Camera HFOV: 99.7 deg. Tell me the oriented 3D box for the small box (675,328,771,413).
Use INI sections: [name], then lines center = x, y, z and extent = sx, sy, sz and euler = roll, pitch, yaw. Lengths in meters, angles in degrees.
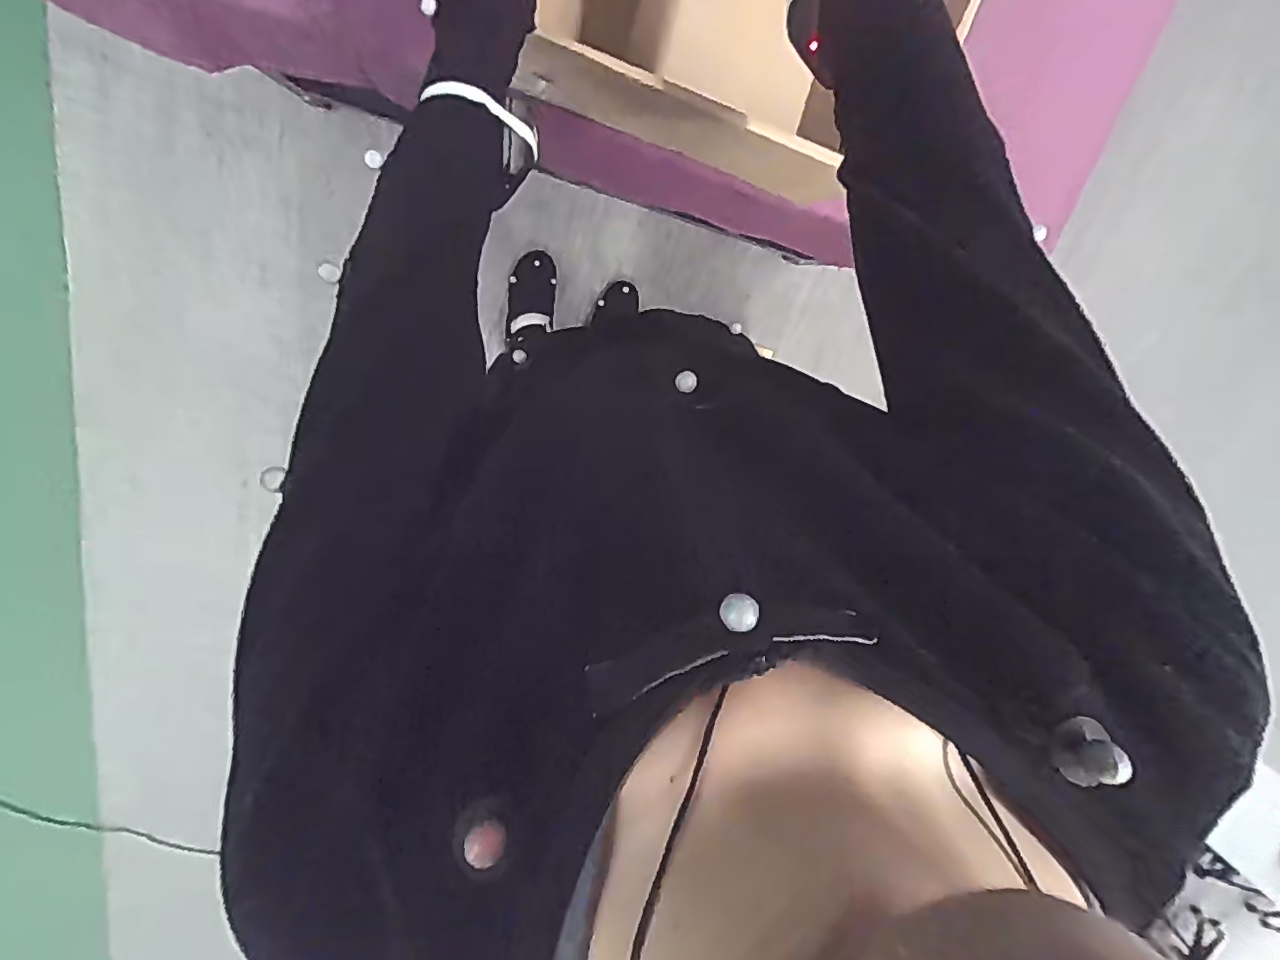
[small box]
center = 0.209, -0.290, 1.408
extent = 0.179, 0.176, 0.168
euler = 10, 110, -14
